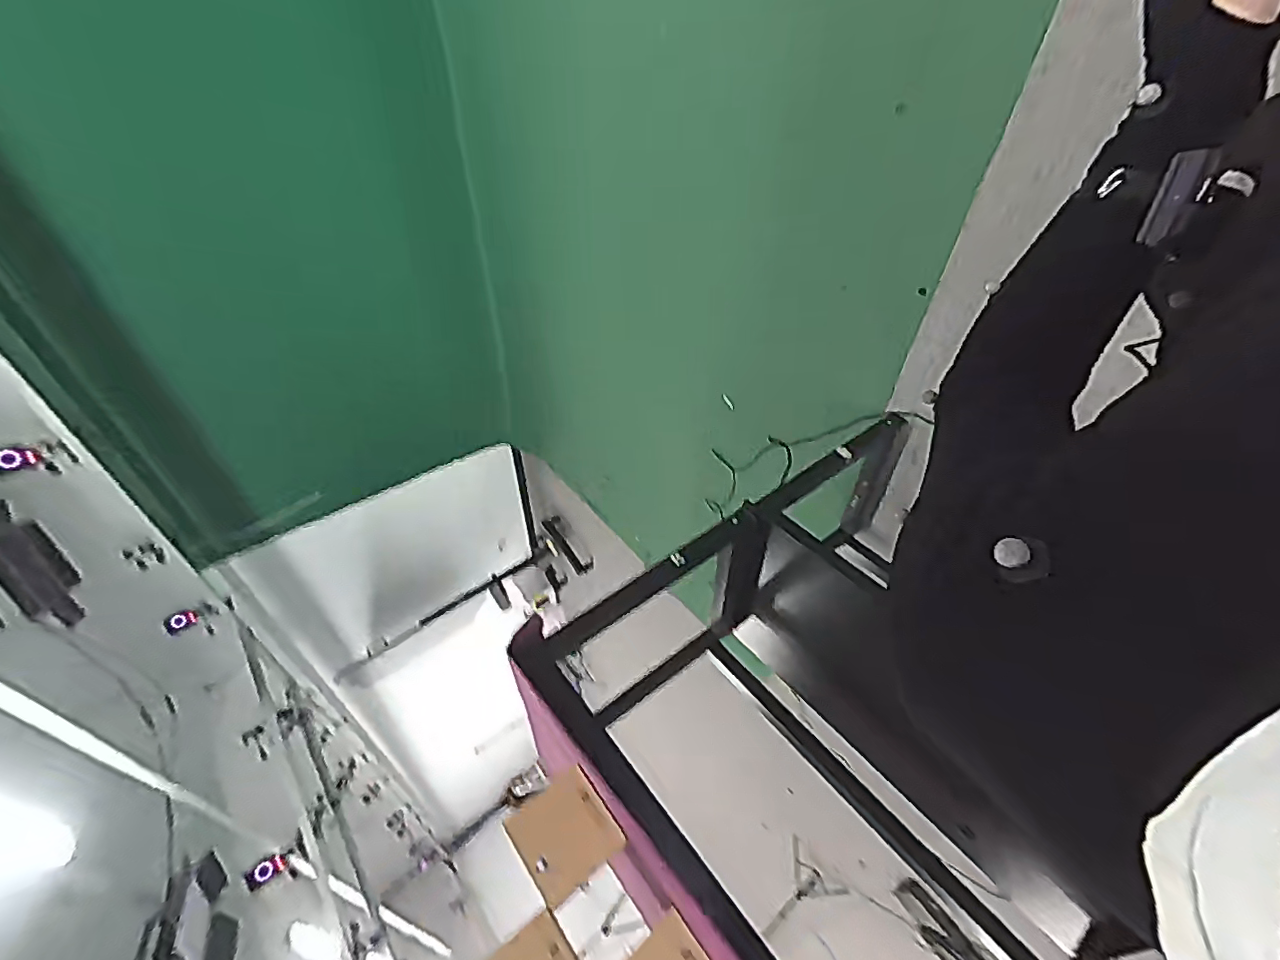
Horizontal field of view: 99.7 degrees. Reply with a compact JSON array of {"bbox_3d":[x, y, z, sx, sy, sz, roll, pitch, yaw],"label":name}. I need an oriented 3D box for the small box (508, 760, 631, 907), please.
[{"bbox_3d":[-0.133,0.683,1.050,0.168,0.176,0.179,44,150,27],"label":"small box"}]

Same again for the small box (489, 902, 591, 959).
[{"bbox_3d":[-0.162,0.845,0.894,0.168,0.176,0.179,42,148,32],"label":"small box"}]

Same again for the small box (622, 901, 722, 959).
[{"bbox_3d":[0.054,0.843,0.888,0.168,0.176,0.179,41,146,32],"label":"small box"}]
